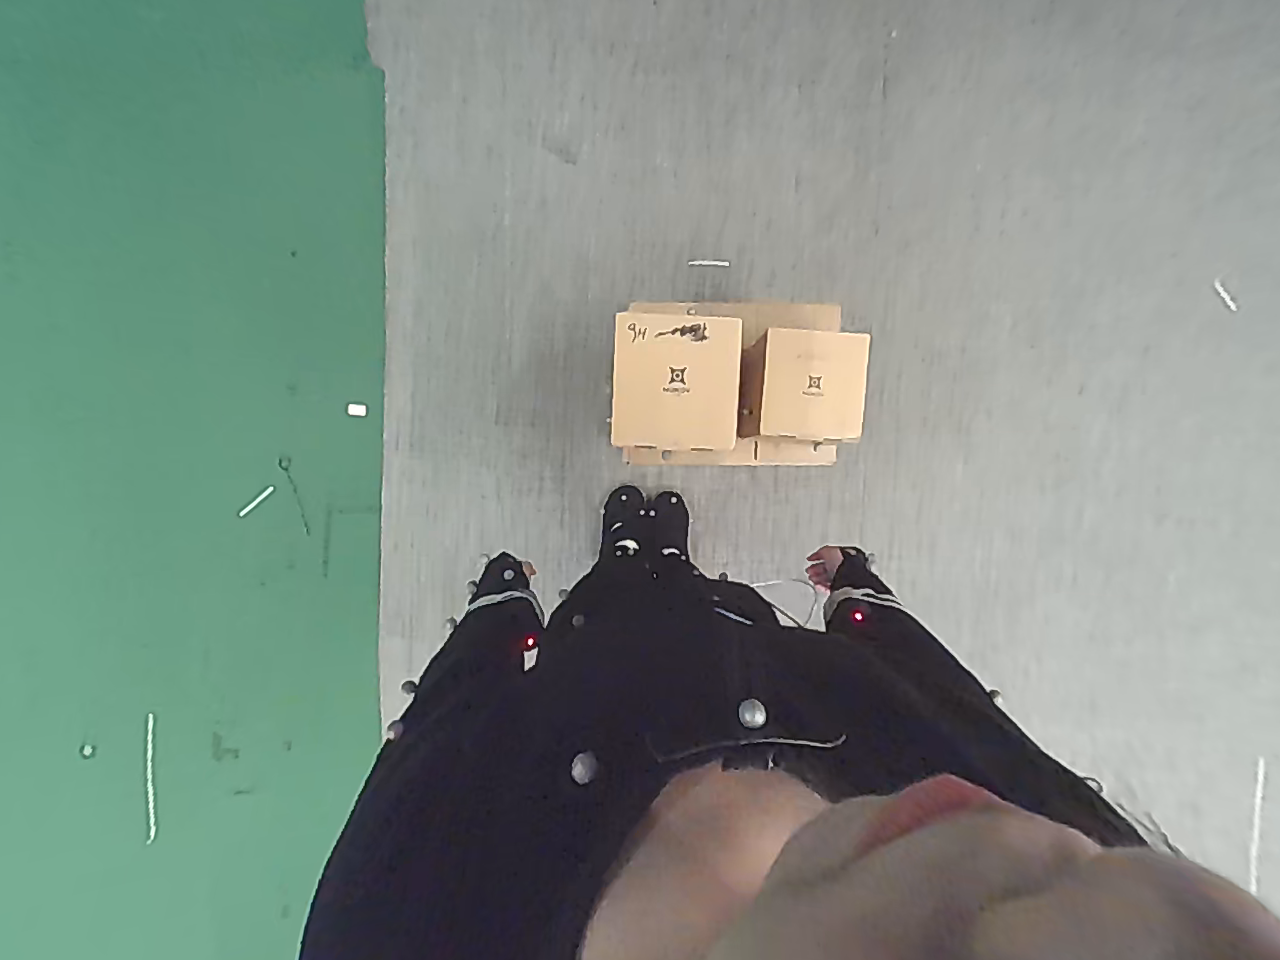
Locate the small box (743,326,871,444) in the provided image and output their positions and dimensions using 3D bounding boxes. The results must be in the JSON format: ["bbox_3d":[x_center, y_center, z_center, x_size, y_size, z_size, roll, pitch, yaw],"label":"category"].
[{"bbox_3d":[0.279,-0.155,0.940,0.168,0.176,0.179,5,92,1],"label":"small box"}]

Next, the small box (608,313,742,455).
[{"bbox_3d":[0.044,-0.132,0.778,0.168,0.176,0.179,3,95,-1],"label":"small box"}]
